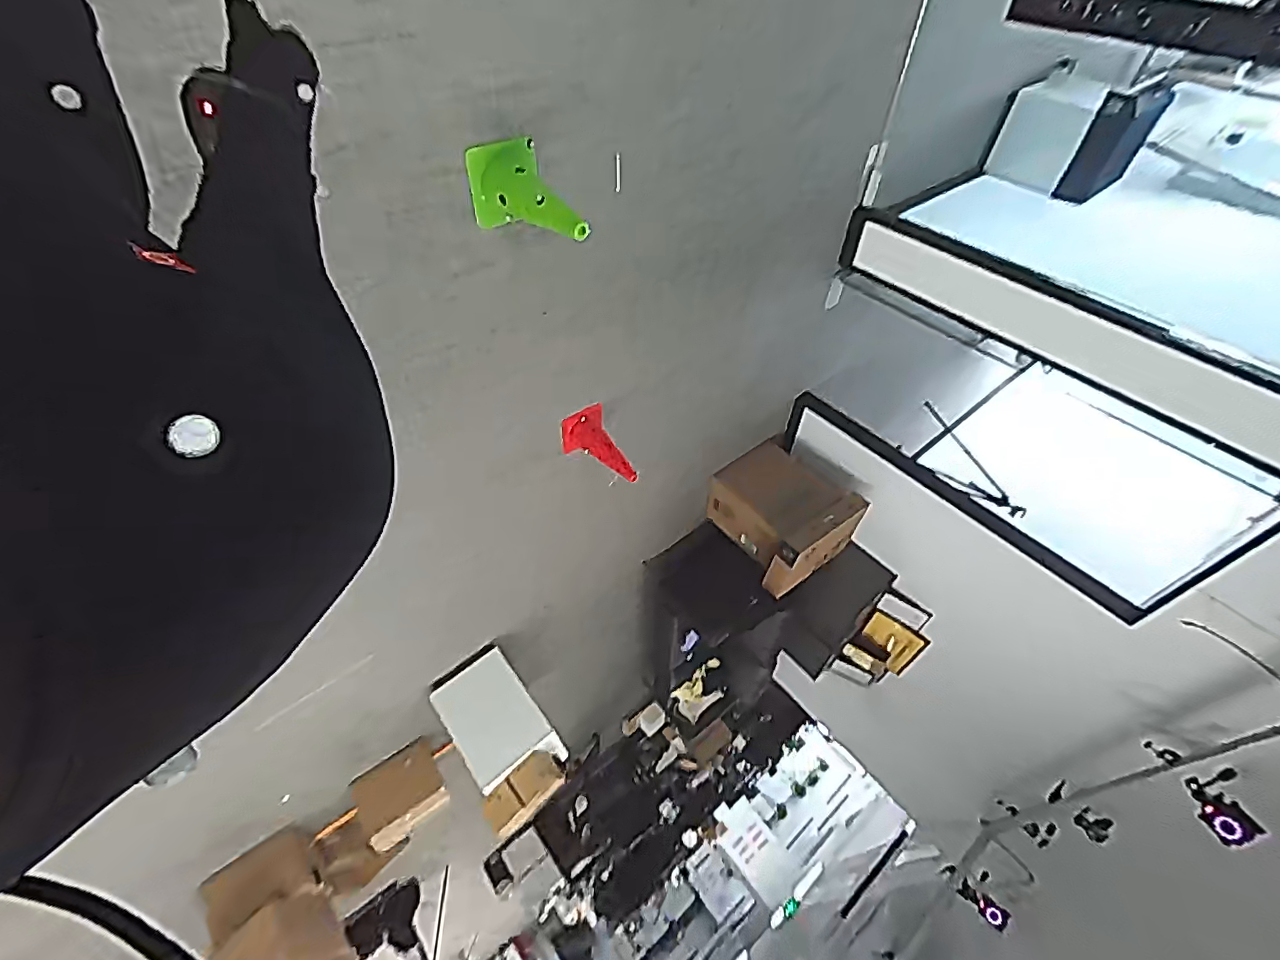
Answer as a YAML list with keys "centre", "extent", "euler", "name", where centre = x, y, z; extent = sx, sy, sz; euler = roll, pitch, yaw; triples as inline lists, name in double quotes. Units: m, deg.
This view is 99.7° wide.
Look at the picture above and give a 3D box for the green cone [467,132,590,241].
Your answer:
- centre: [-0.250, -0.696, 1.356]
  extent: [0.200, 0.368, 0.202]
  euler: [-31, 148, -25]
  name: "green cone"
